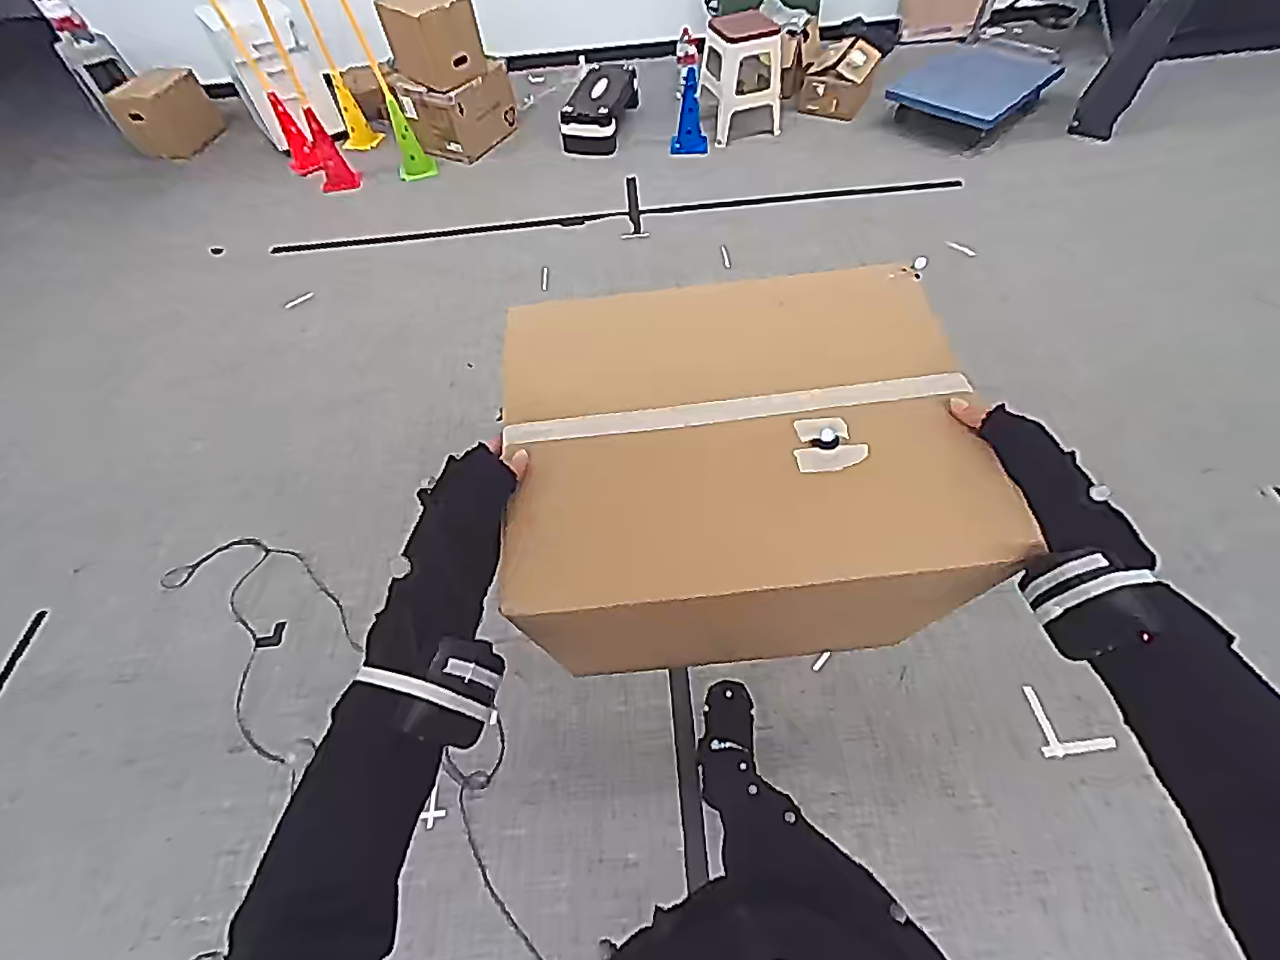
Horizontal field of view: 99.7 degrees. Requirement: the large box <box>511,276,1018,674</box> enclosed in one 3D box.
[{"bbox_3d":[0.088,0.016,0.616,0.408,0.320,0.320,-6,62,0],"label":"large box"}]
